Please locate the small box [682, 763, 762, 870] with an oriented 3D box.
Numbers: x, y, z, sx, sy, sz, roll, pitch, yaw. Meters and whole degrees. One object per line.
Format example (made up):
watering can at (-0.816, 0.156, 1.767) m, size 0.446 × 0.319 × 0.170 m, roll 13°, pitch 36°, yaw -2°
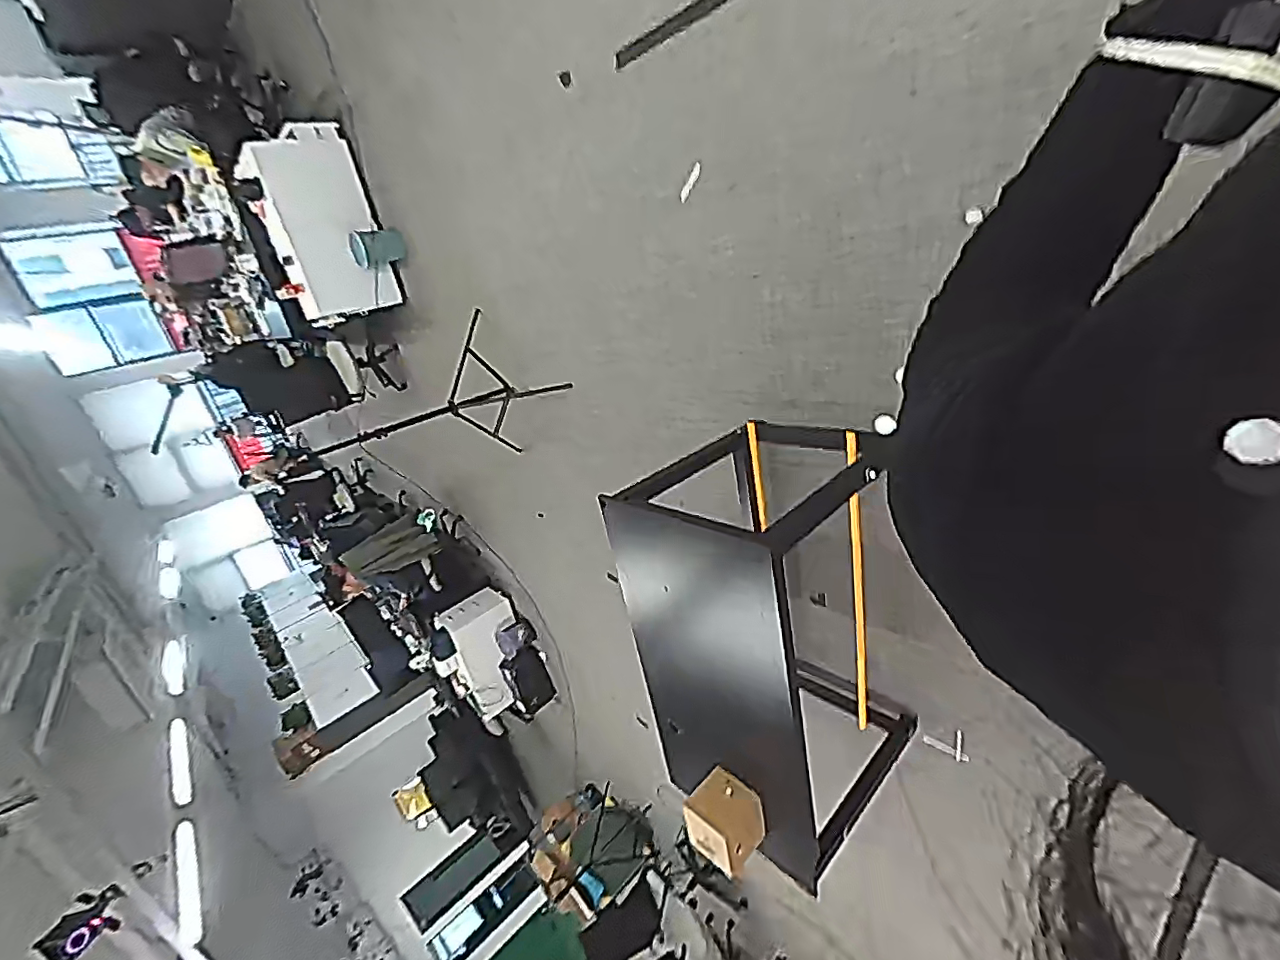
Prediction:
small box at (0.253, 1.008, 1.633) m, size 0.168 × 0.176 × 0.179 m, roll 15°, pitch 124°, yaw 47°
